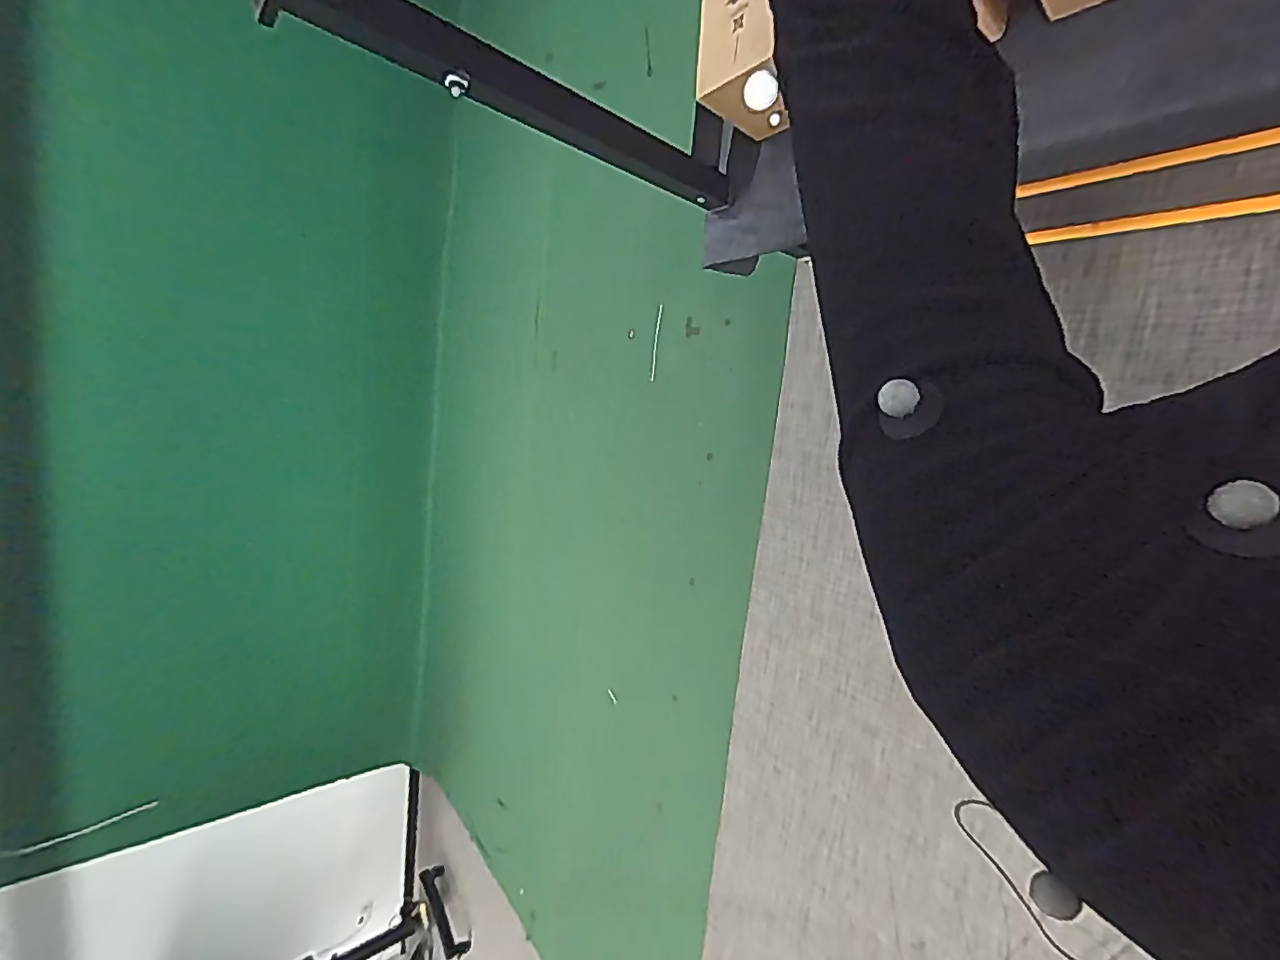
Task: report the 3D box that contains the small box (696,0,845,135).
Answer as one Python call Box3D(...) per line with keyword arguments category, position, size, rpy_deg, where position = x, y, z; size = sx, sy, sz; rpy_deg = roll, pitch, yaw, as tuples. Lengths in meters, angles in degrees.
Box3D(category="small box", position=(0.212, -0.696, 0.858), size=(0.168, 0.176, 0.179), rpy_deg=(10, 98, 49))
